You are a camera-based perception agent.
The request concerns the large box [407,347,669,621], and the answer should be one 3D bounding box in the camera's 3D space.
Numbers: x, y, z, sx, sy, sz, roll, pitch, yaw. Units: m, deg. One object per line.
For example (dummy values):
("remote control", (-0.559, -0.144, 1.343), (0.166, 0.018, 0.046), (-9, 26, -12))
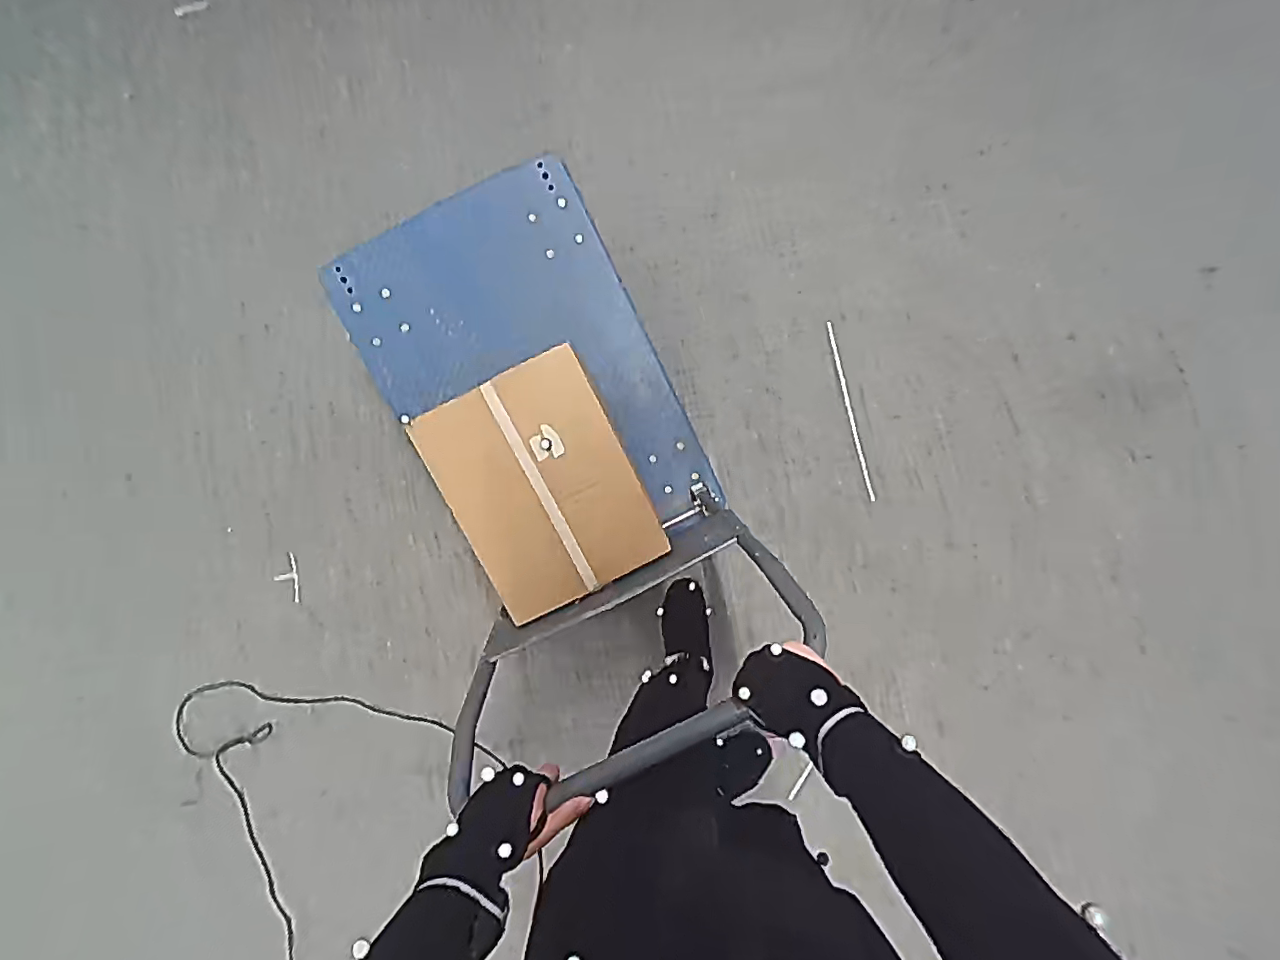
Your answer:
("large box", (-0.177, -0.004, 1.085), (0.320, 0.320, 0.408), (-27, 98, 0))
